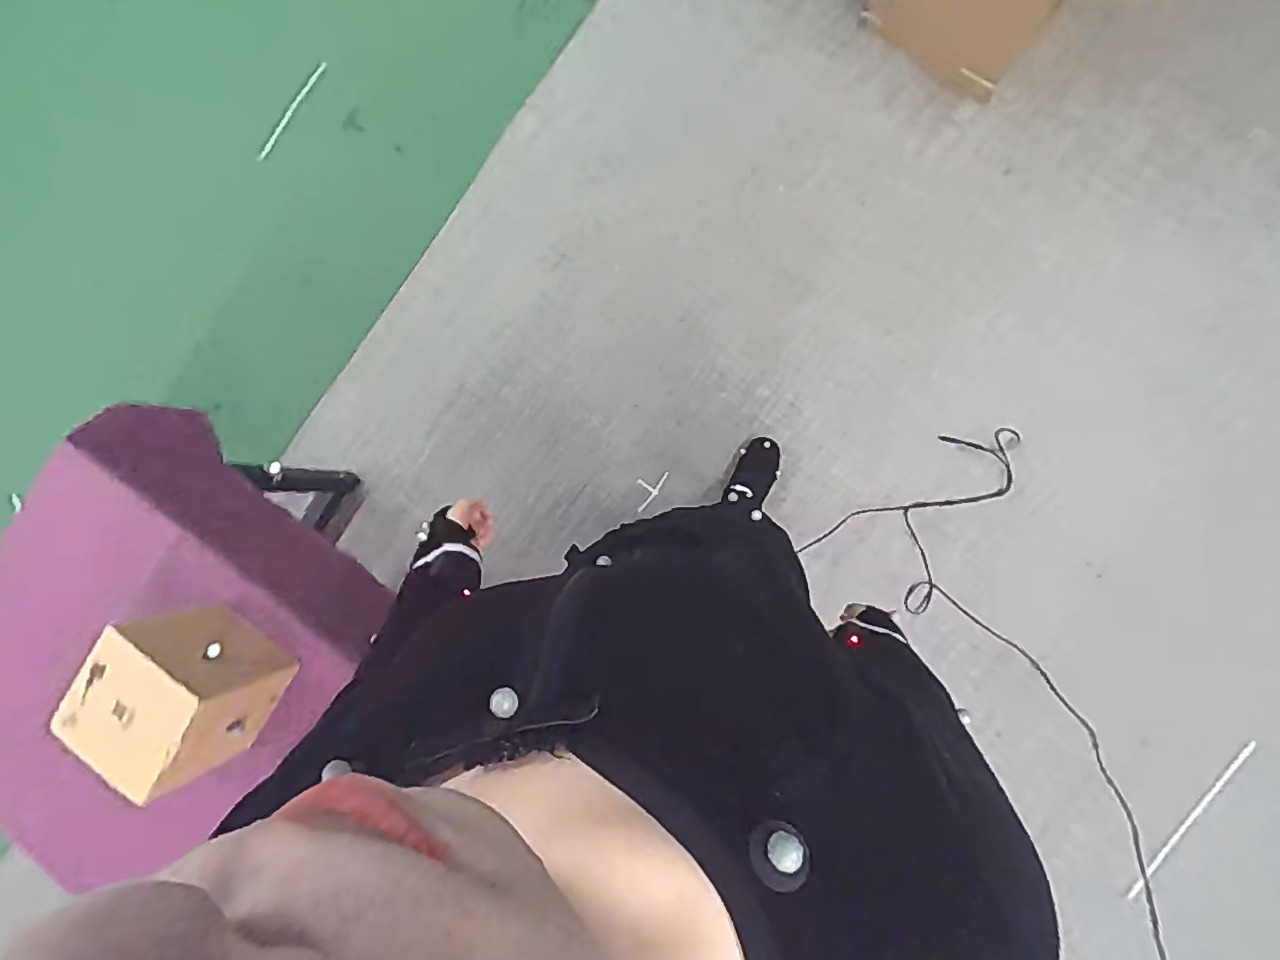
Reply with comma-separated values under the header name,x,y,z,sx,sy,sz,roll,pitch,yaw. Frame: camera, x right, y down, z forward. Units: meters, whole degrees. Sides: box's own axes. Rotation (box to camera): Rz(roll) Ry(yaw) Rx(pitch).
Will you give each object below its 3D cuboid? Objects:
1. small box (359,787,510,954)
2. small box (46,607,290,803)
name,x,y,z,sx,sy,sz,roll,pitch,yaw
small box,-0.297,0.560,0.719,0.168,0.176,0.179,34,93,8
small box,-0.660,0.304,0.779,0.179,0.176,0.168,33,92,7
